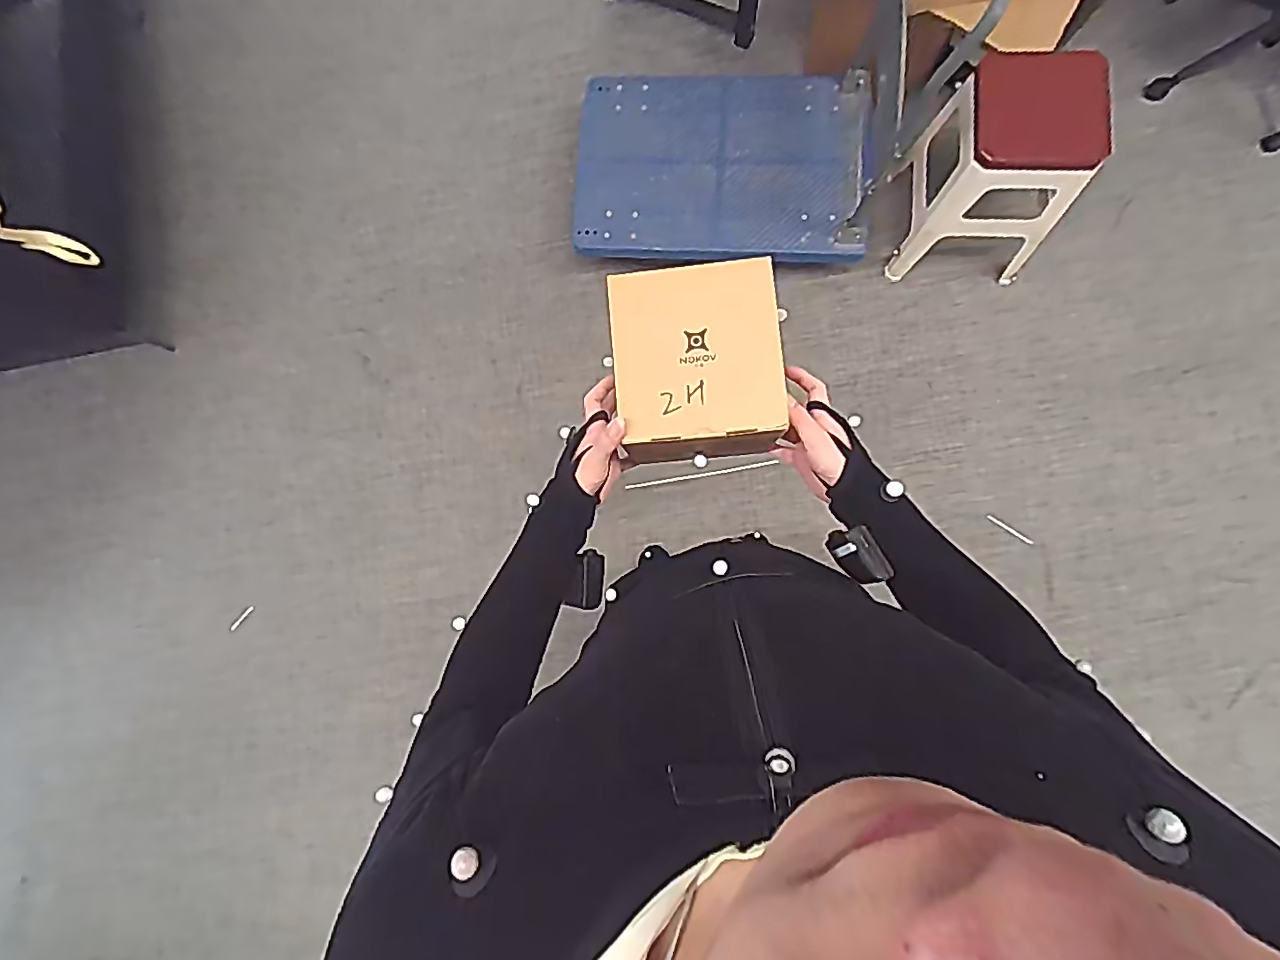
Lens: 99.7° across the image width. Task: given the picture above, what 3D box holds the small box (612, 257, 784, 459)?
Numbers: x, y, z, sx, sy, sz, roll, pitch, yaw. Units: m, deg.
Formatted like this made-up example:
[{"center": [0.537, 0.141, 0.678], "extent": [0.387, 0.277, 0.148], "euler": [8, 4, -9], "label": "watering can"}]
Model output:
[{"center": [0.061, -0.126, 0.618], "extent": [0.168, 0.176, 0.179], "euler": [-4, 85, 5], "label": "small box"}]
